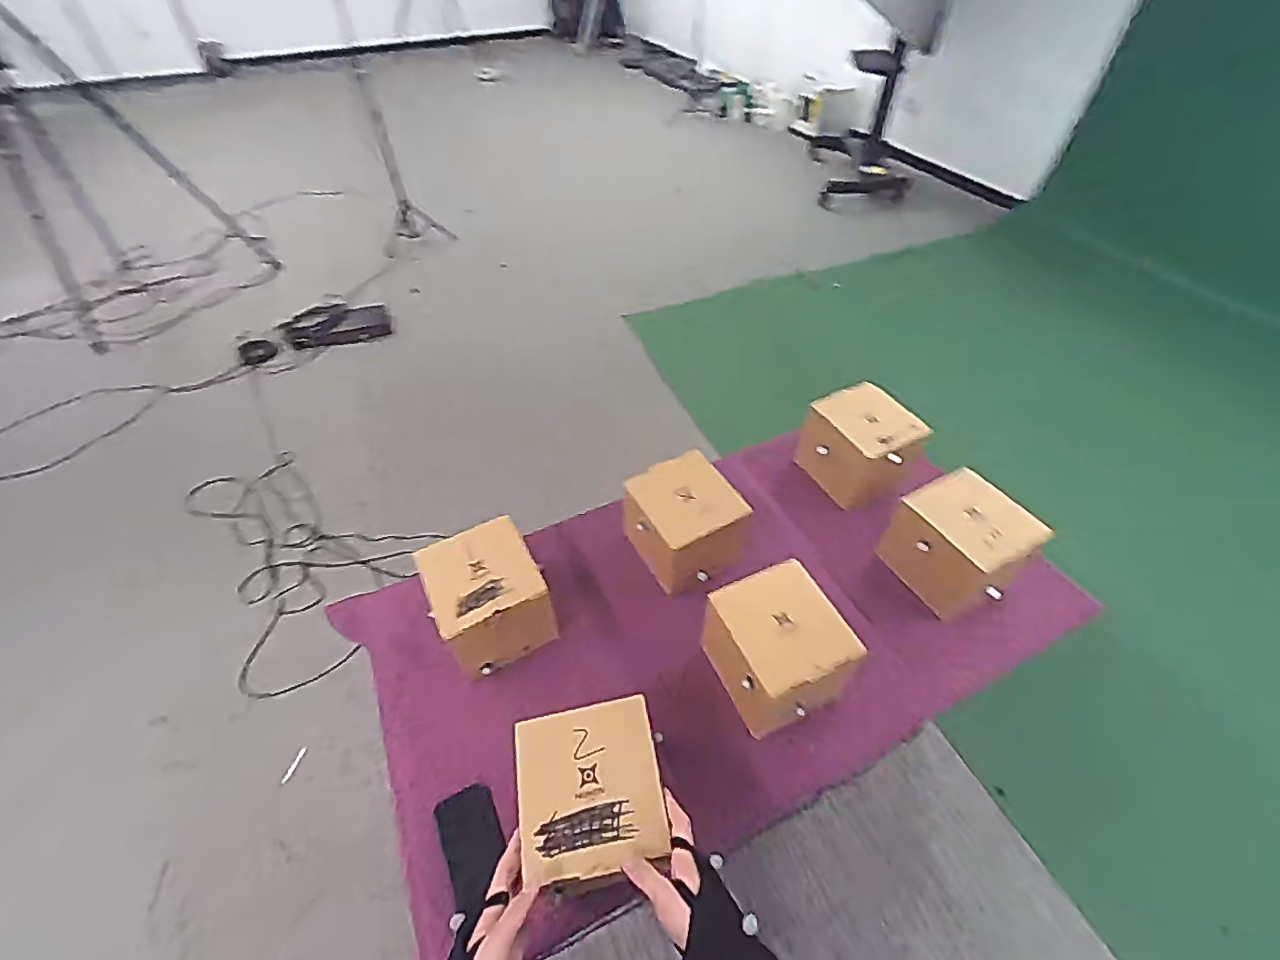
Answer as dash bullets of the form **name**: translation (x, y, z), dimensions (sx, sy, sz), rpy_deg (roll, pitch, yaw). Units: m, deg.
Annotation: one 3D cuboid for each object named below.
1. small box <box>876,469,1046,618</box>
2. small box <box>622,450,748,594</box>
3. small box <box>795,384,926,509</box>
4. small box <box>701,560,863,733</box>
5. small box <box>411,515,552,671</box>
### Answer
- **small box**: translation (0.566, 0.116, 0.983), dimensions (0.168, 0.176, 0.179), rpy_deg (-22, 51, -17)
- **small box**: translation (0.076, 0.080, 1.020), dimensions (0.168, 0.176, 0.179), rpy_deg (-23, 53, -18)
- **small box**: translation (0.456, -0.070, 1.152), dimensions (0.168, 0.176, 0.179), rpy_deg (-22, 52, -18)
- **small box**: translation (0.209, 0.263, 0.857), dimensions (0.168, 0.176, 0.179), rpy_deg (-19, 50, -16)
- **small box**: translation (-0.260, 0.197, 0.913), dimensions (0.168, 0.176, 0.179), rpy_deg (-23, 52, -20)
